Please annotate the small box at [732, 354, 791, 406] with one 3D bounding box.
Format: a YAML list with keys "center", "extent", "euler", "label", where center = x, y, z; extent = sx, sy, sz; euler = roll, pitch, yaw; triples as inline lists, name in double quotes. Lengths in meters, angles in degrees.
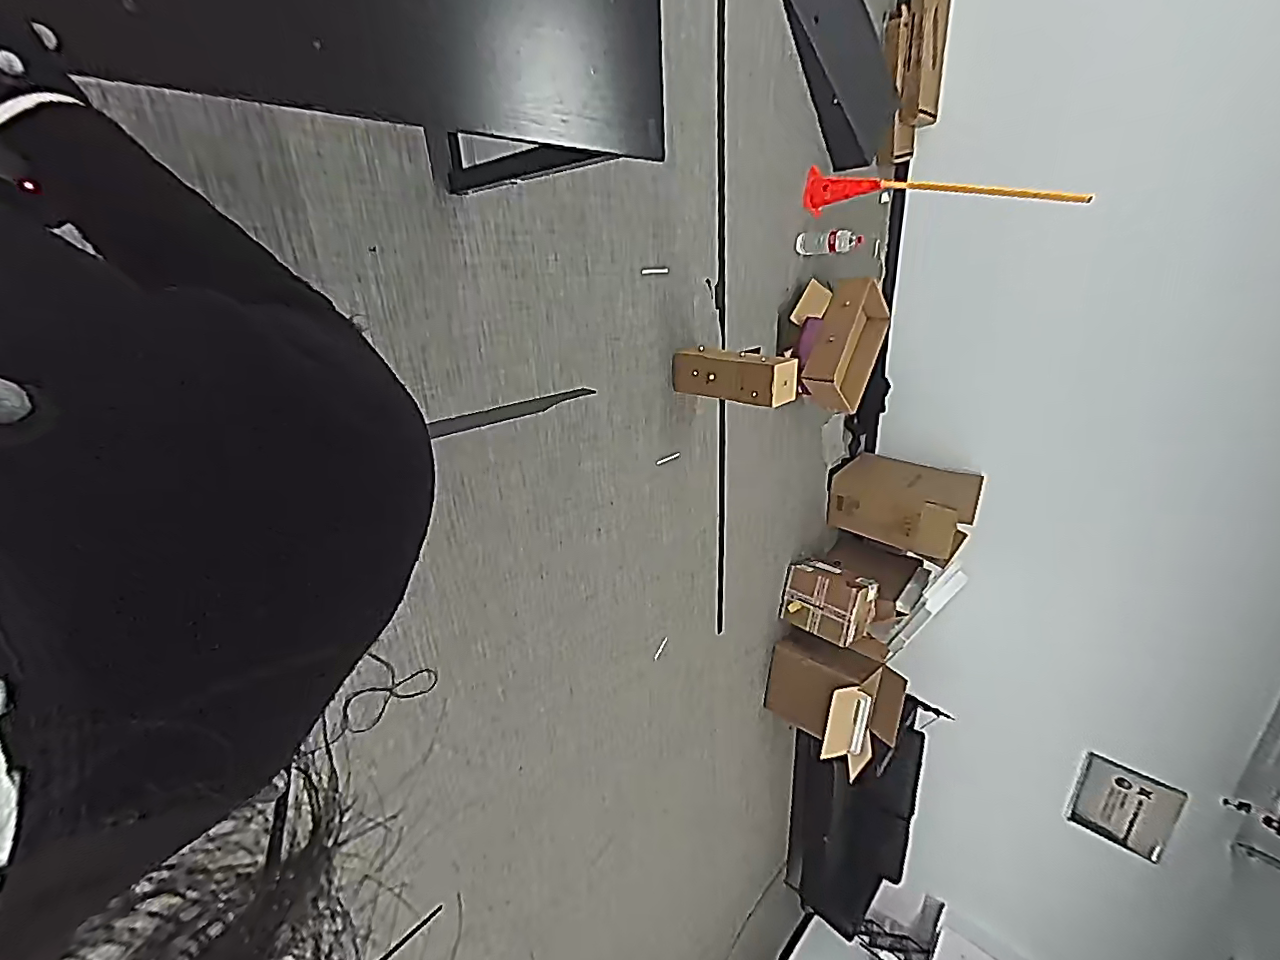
- center: [0.477, -0.400, 2.137]
  extent: [0.179, 0.176, 0.168]
  euler: [-25, 122, -42]
  label: "small box"

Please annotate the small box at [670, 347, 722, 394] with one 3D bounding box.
- center: [0.241, -0.480, 2.349]
  extent: [0.168, 0.176, 0.179]
  euler: [-23, 120, -41]
  label: "small box"

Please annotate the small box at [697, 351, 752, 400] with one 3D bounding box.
- center: [0.357, -0.438, 2.240]
  extent: [0.179, 0.176, 0.168]
  euler: [-23, 119, -41]
  label: "small box"
